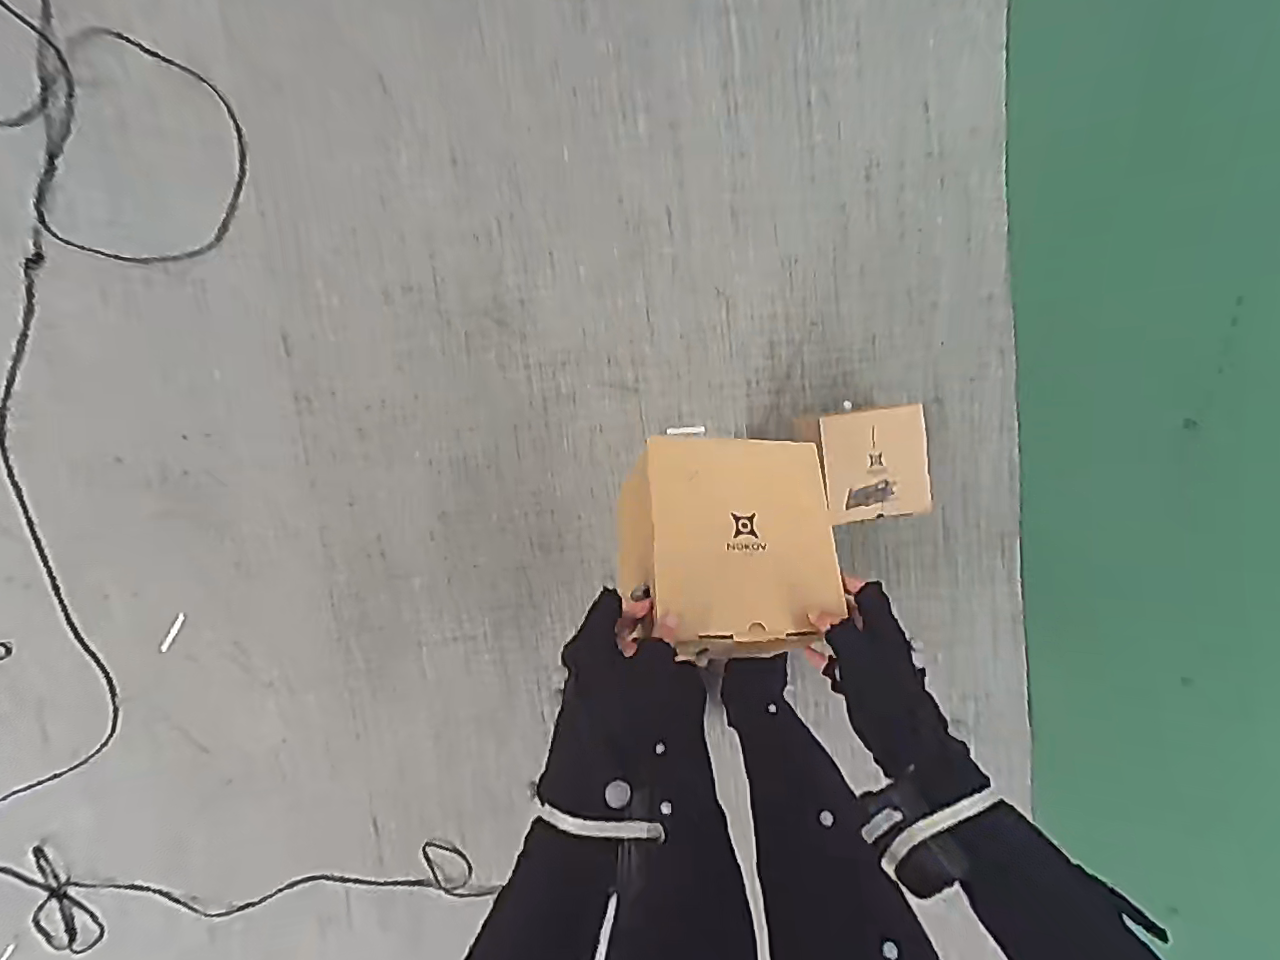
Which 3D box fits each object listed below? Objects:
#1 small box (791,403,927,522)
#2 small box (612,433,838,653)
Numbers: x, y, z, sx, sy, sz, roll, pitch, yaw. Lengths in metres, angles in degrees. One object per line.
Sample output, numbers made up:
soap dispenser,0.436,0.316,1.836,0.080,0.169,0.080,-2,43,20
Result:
small box,0.368,-0.037,0.932,0.168,0.176,0.179,-8,96,2
small box,0.065,0.072,0.537,0.168,0.176,0.179,2,68,-12
